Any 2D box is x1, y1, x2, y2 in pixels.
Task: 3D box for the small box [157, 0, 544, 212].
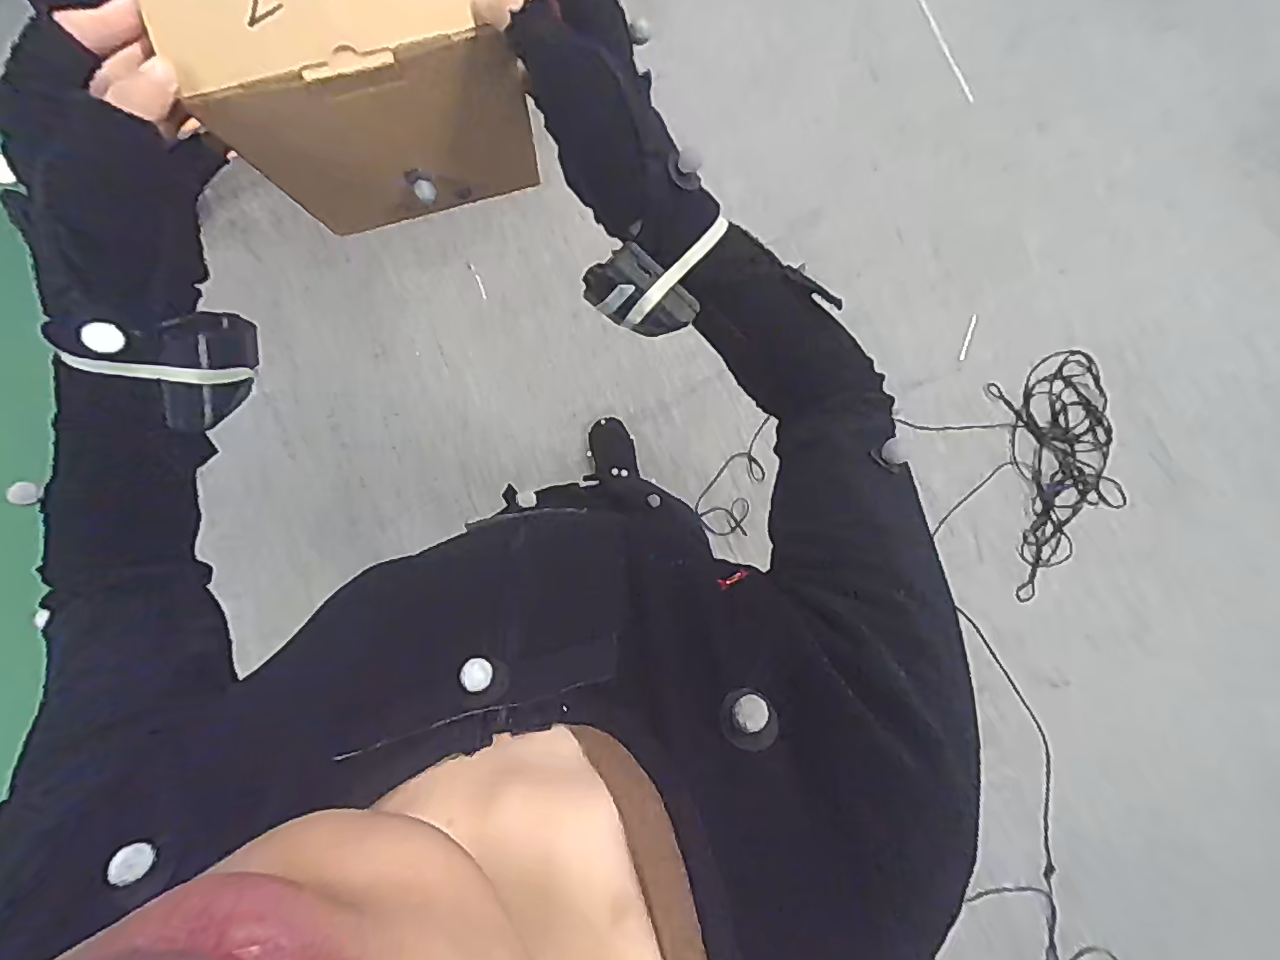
[{"bbox_3d":[-0.166,-0.302,0.330,0.168,0.176,0.179,-17,94,-3],"label":"small box"}]
